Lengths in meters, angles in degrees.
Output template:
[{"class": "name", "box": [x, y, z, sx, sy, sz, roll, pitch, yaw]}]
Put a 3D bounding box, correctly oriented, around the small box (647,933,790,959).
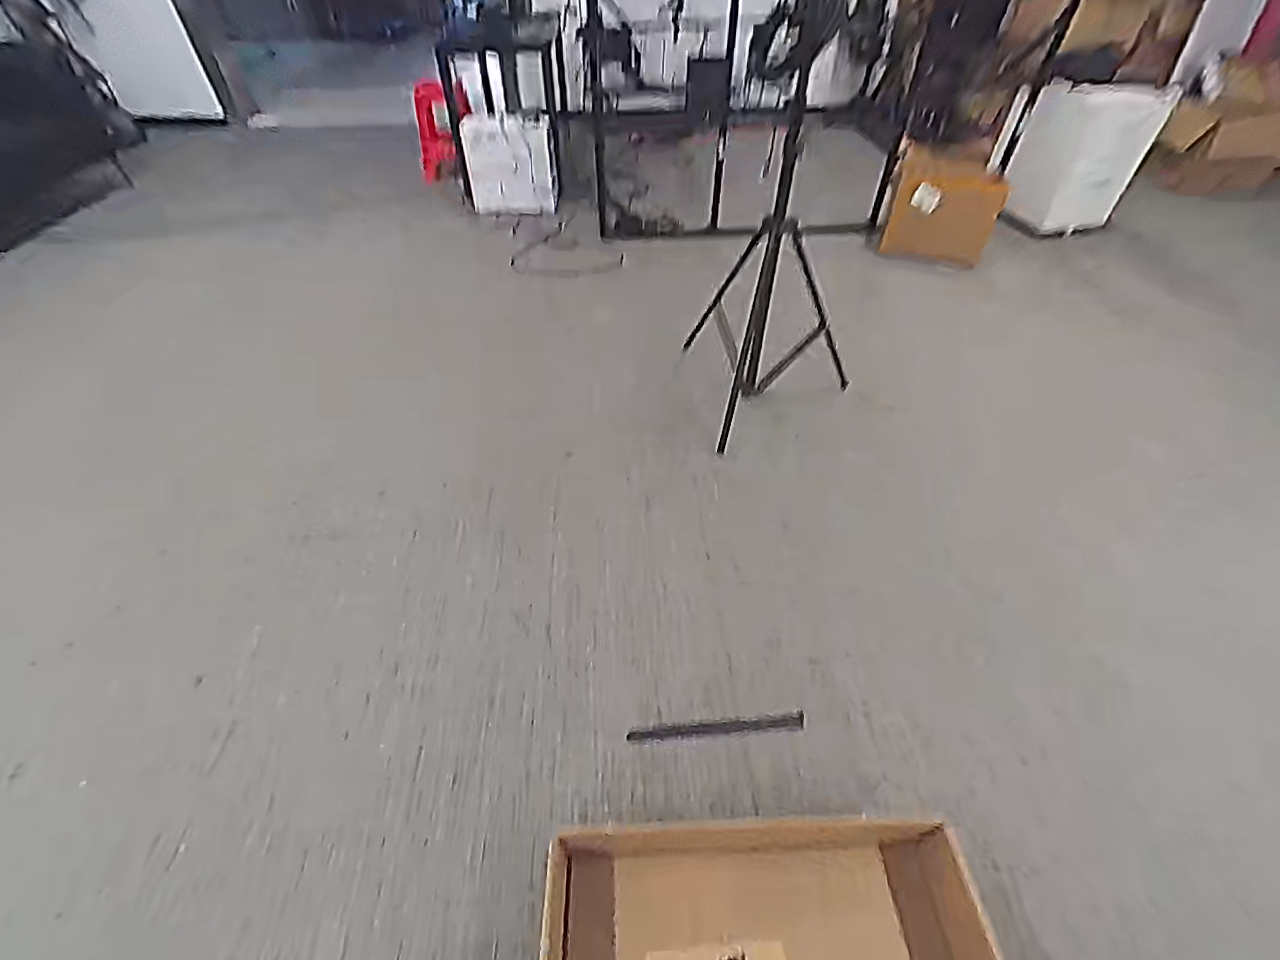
[{"class": "small box", "box": [0.099, 0.656, 0.620, 0.168, 0.176, 0.179, -4, 40, -3]}]
